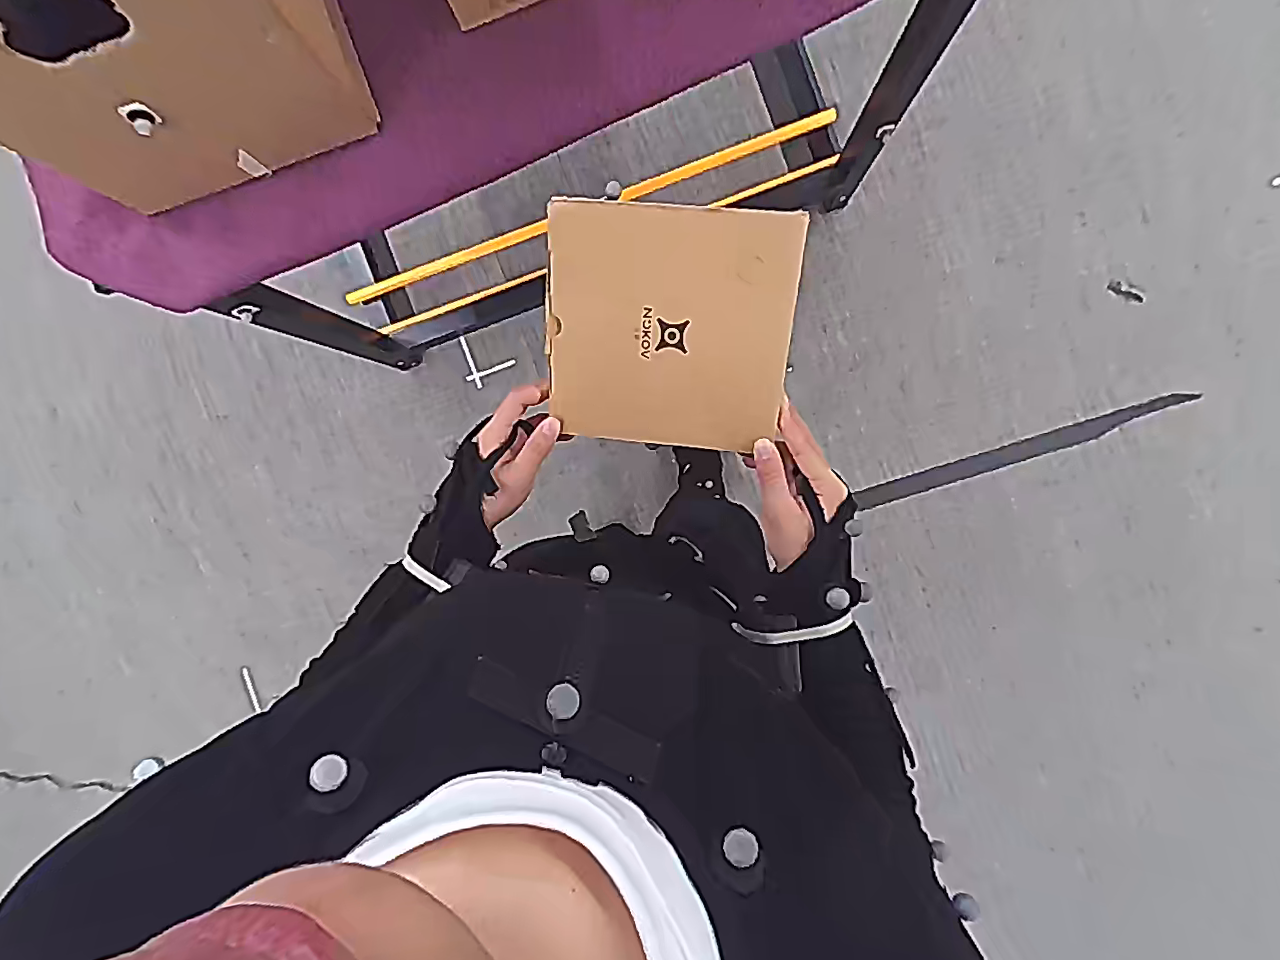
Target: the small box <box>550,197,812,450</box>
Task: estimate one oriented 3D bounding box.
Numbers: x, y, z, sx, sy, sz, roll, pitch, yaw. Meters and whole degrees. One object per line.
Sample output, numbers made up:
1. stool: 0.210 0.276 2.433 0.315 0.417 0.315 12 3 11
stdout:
1. small box: 0.032 -0.136 0.457 0.179 0.176 0.168 7 112 8
